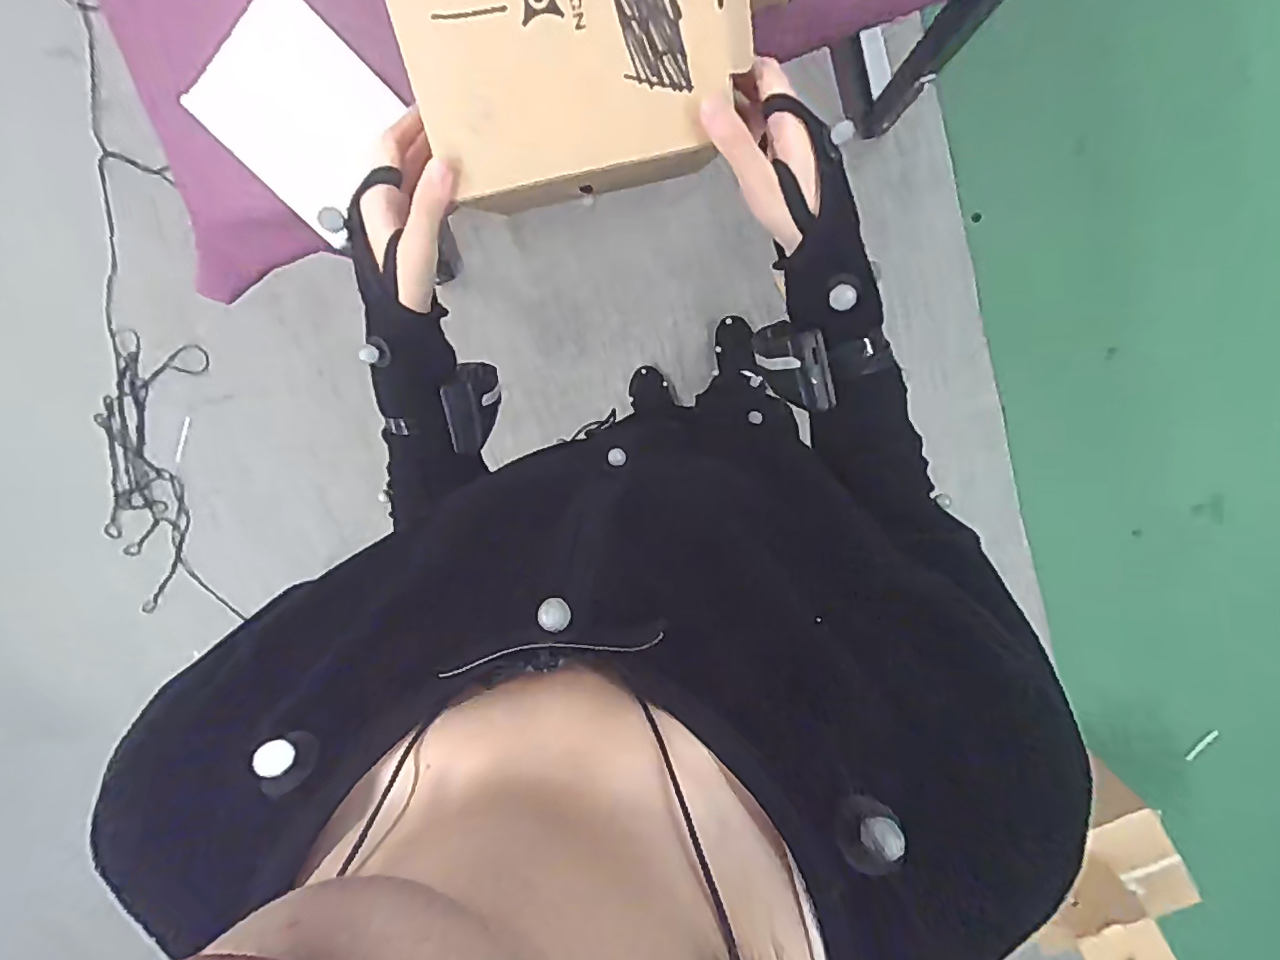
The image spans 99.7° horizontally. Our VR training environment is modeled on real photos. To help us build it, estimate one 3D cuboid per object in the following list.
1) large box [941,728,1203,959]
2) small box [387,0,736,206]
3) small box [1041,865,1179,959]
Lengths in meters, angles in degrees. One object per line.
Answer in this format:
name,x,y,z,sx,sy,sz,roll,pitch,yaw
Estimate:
large box,1.138,0.971,1.475,0.408,0.320,0.320,-32,99,9
small box,-0.047,-0.286,0.351,0.179,0.176,0.168,-10,113,3
small box,1.076,1.031,1.240,0.168,0.176,0.179,-31,97,10
